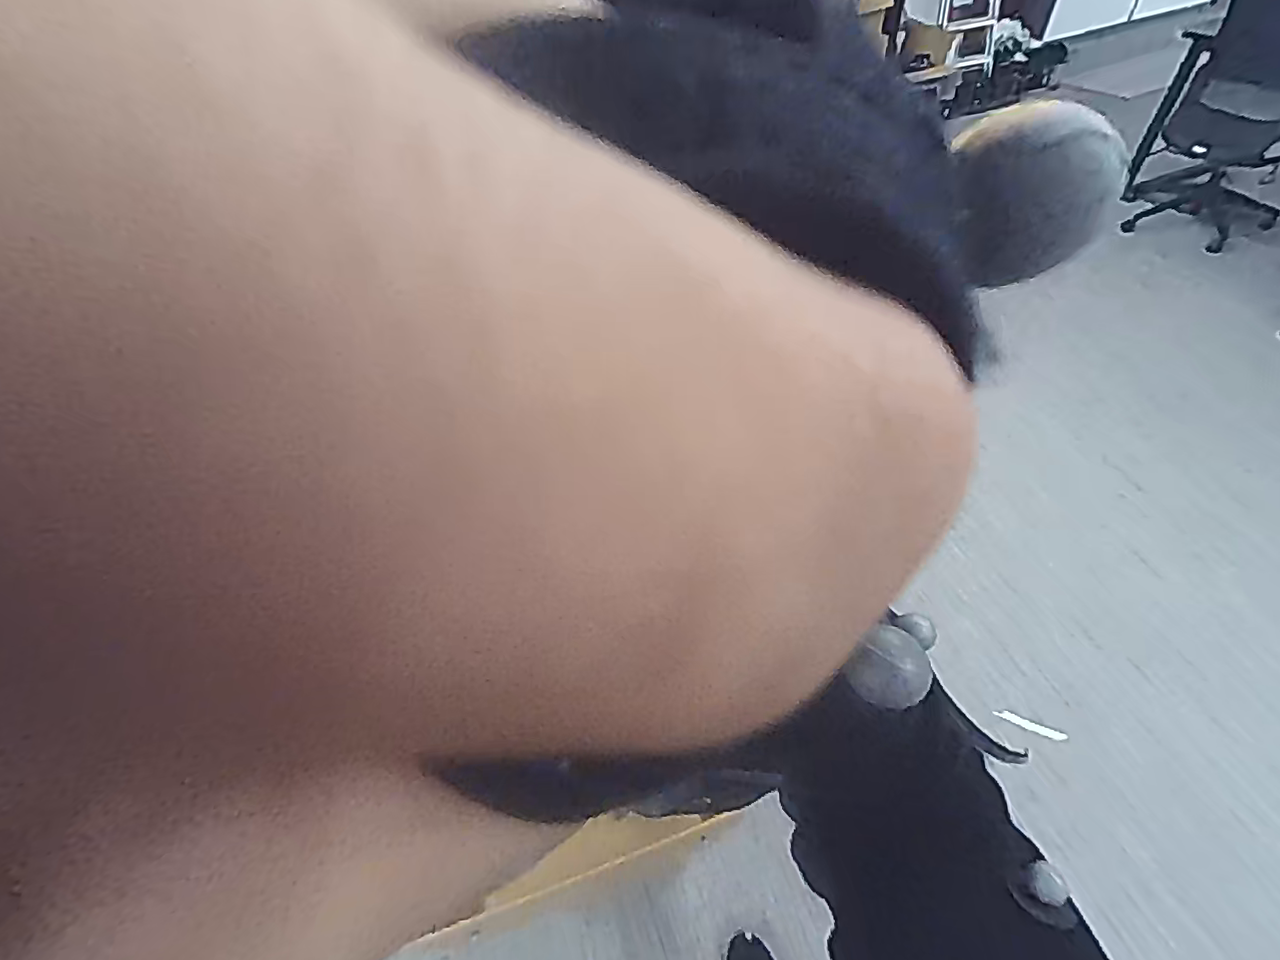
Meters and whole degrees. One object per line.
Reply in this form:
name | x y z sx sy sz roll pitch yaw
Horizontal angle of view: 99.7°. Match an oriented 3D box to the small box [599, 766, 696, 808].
small box | 0.008 0.513 1.044 0.168 0.176 0.179 -13 48 -3
